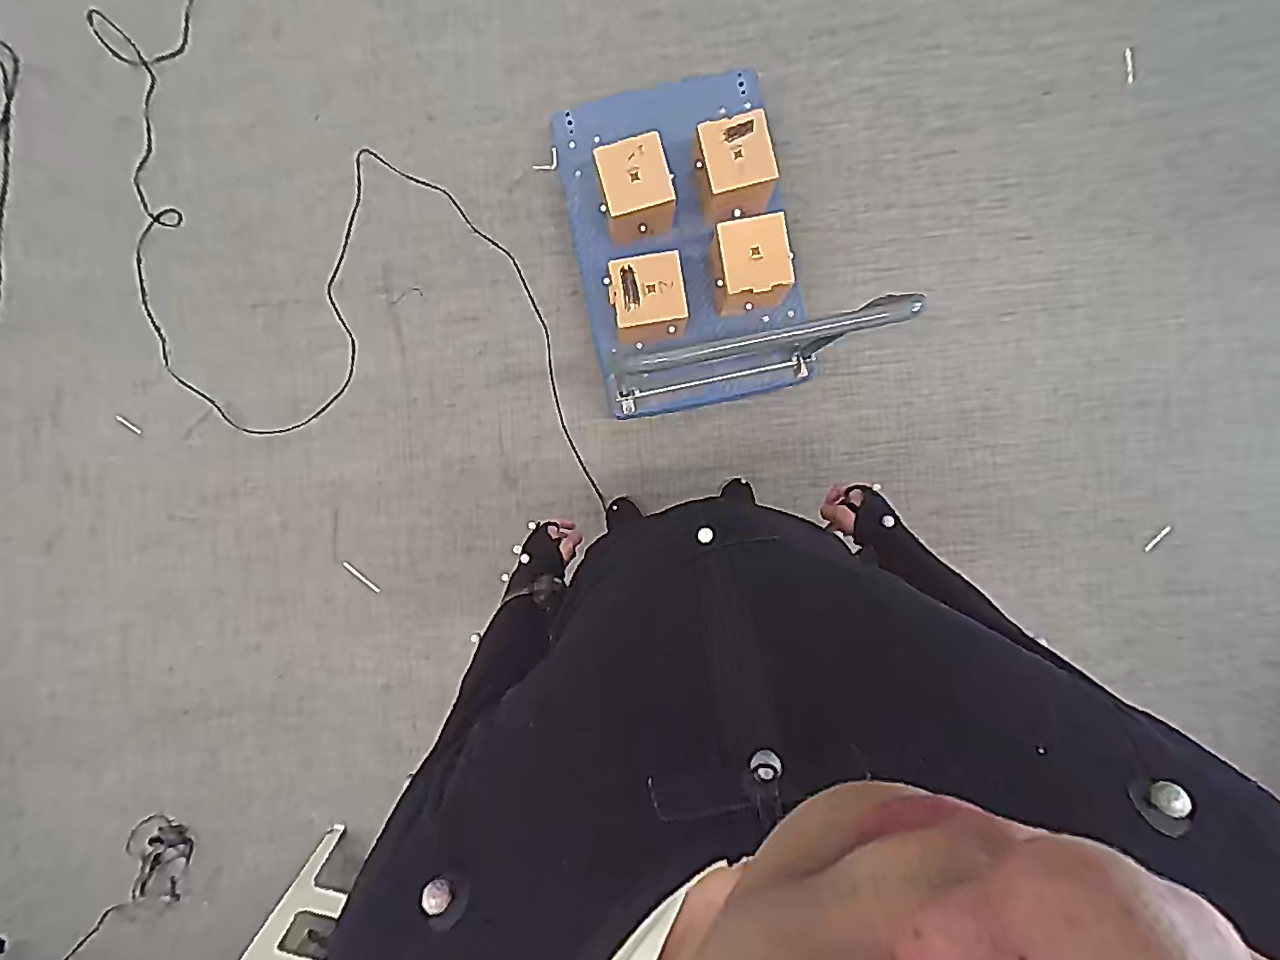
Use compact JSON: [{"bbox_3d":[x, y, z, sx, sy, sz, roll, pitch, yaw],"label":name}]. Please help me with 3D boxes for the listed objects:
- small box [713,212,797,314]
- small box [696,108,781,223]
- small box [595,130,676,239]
[{"bbox_3d":[0.285,-0.546,1.378,0.168,0.176,0.179,-10,89,2],"label":"small box"},{"bbox_3d":[0.243,-0.791,1.375,0.168,0.176,0.179,-13,91,2],"label":"small box"},{"bbox_3d":[-0.008,-0.740,1.382,0.168,0.176,0.179,-15,90,1],"label":"small box"}]
